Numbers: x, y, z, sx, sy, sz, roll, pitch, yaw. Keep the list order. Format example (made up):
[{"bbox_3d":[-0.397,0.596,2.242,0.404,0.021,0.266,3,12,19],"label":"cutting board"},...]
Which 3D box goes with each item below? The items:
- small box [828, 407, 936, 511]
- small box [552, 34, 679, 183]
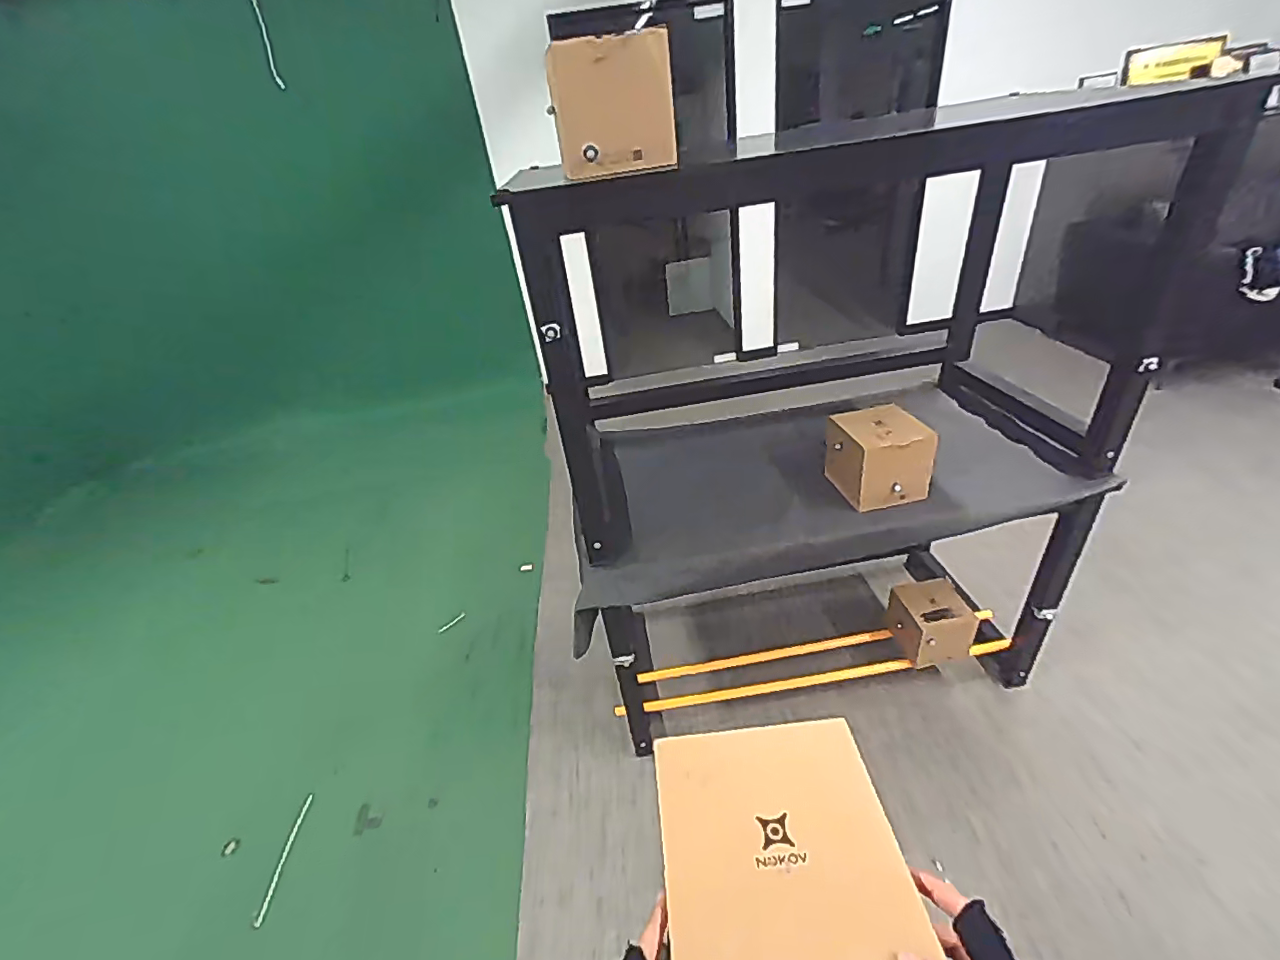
[{"bbox_3d":[0.552,-0.050,1.264,0.168,0.176,0.179,-11,32,-3],"label":"small box"},{"bbox_3d":[-0.040,-0.580,0.862,0.168,0.176,0.179,-11,32,-6],"label":"small box"}]
